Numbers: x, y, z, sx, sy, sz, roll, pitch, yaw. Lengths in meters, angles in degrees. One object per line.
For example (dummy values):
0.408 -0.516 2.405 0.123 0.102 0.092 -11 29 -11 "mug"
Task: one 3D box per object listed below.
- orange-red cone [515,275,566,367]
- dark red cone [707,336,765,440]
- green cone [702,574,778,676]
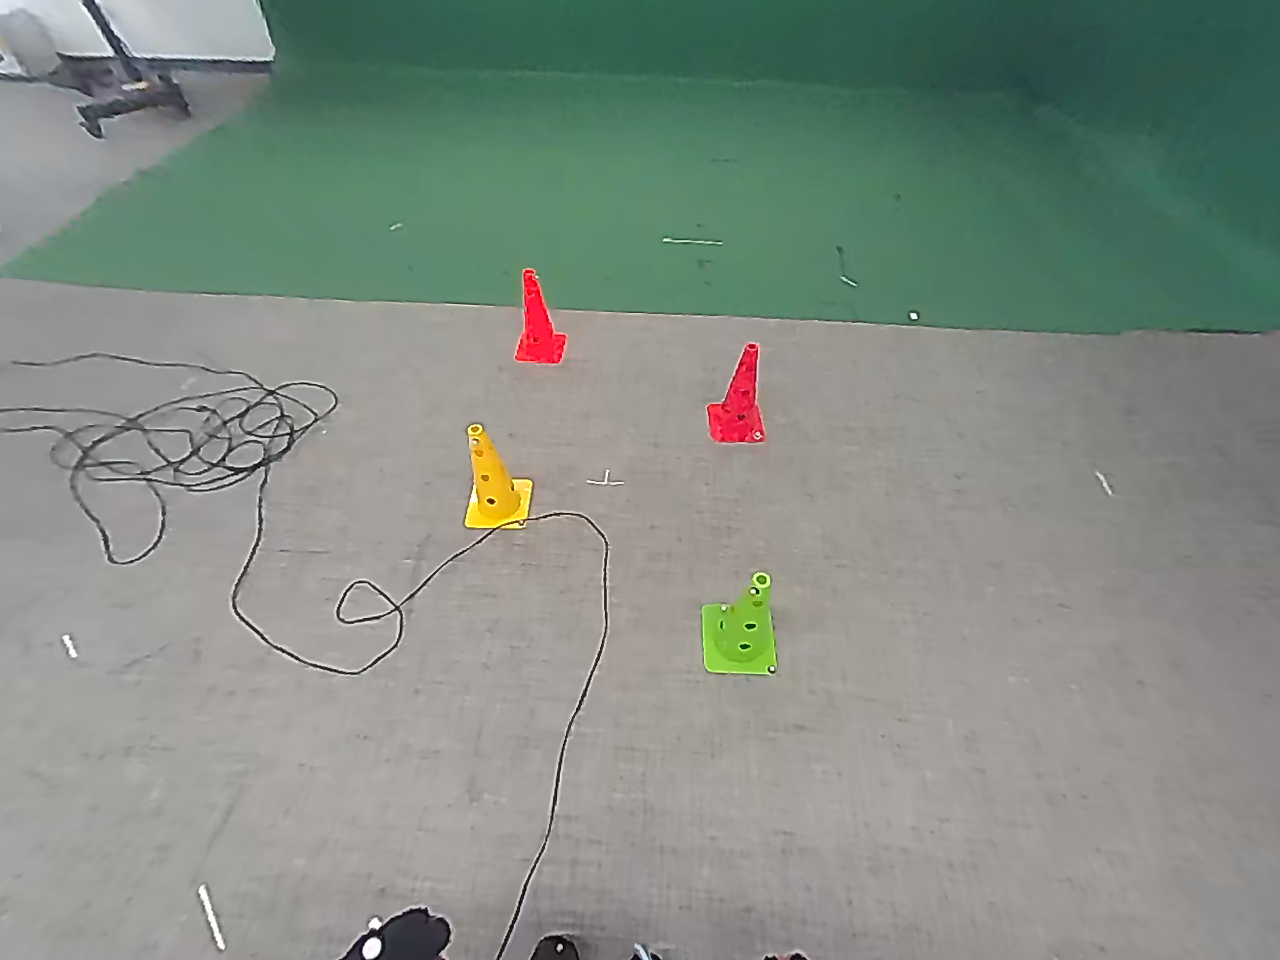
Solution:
-0.426 -0.656 2.178 0.198 0.360 0.199 3 52 3 "orange-red cone"
0.357 -0.330 1.897 0.202 0.394 0.201 -1 50 -2 "dark red cone"
0.277 0.342 1.388 0.202 0.368 0.200 1 51 2 "green cone"
